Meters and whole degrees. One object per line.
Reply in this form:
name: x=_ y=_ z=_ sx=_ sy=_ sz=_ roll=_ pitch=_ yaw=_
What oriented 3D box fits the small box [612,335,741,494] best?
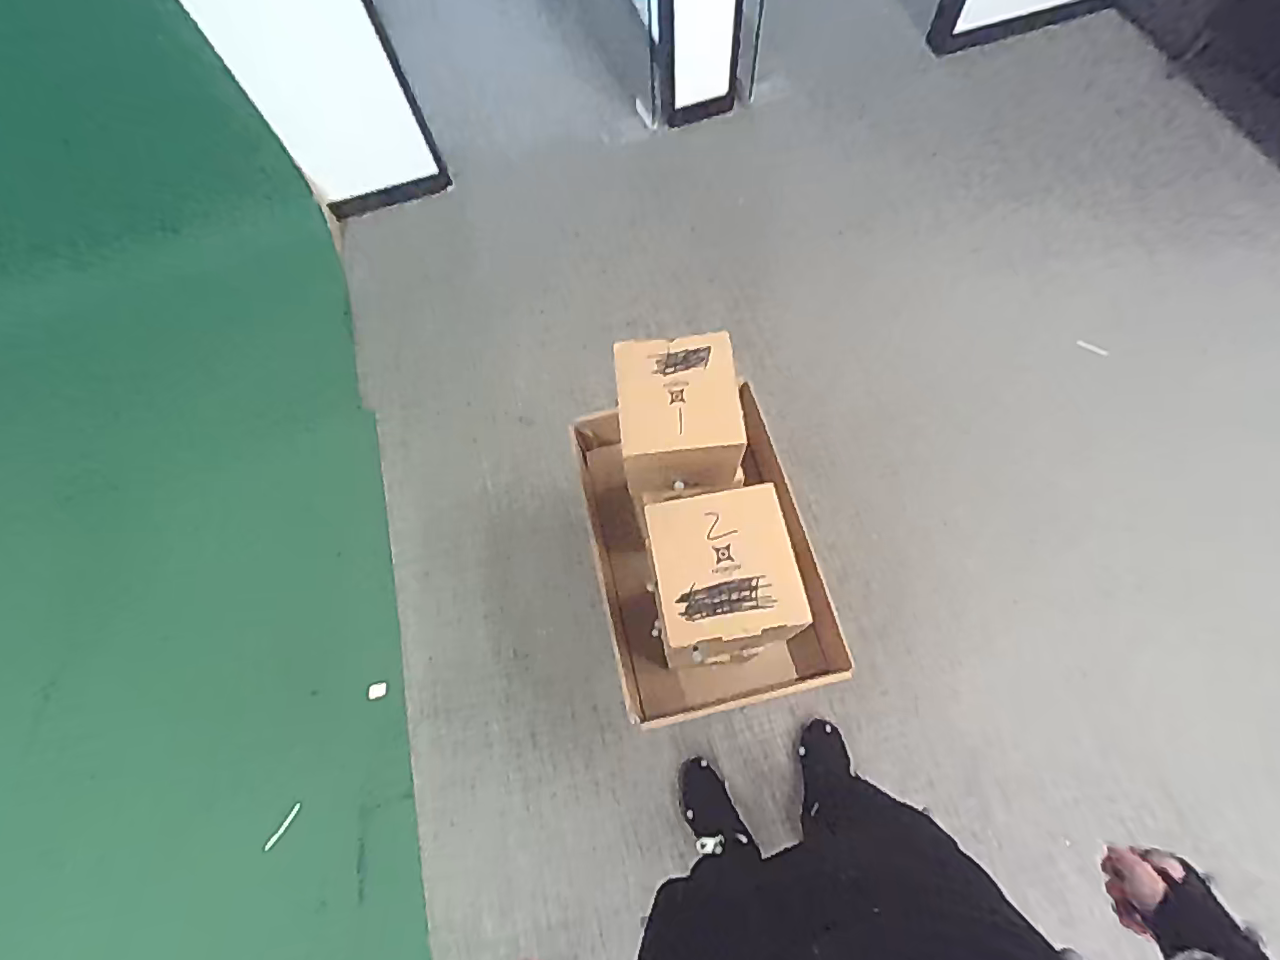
small box: x=0.049 y=-0.091 z=0.813 sx=0.168 sy=0.176 sz=0.179 roll=-6 pitch=70 yaw=1

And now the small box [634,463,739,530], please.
small box: x=0.064 y=-0.030 z=0.965 sx=0.168 sy=0.176 sz=0.179 roll=-15 pitch=70 yaw=-3

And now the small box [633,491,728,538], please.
small box: x=0.072 y=0.025 z=1.117 sx=0.168 sy=0.176 sz=0.179 roll=-14 pitch=69 yaw=-2

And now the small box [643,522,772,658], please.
small box: x=0.102 y=0.185 z=0.872 sx=0.168 sy=0.176 sz=0.179 roll=-10 pitch=67 yaw=-1
